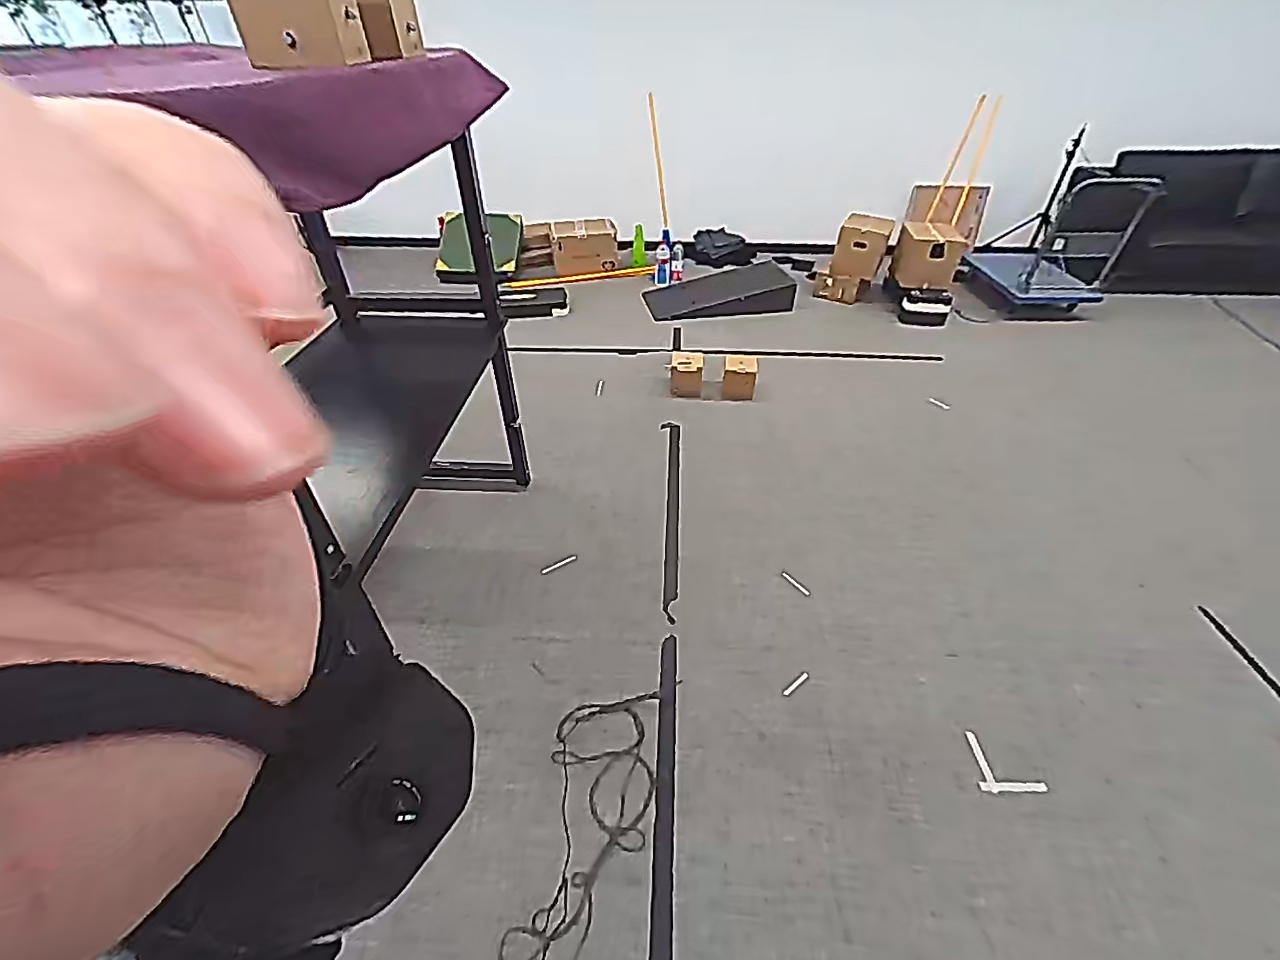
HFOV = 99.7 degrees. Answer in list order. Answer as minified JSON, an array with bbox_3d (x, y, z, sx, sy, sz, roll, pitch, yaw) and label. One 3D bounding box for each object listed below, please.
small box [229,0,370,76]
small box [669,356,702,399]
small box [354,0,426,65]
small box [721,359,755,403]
[{"bbox_3d":[-0.640,-0.879,1.024,0.179,0.176,0.168,-3,39,-4],"label":"small box"},{"bbox_3d":[0.246,-0.552,2.922,0.168,0.176,0.179,4,39,4],"label":"small box"},{"bbox_3d":[-0.625,-1.070,1.253,0.179,0.176,0.168,0,41,1],"label":"small box"},{"bbox_3d":[0.527,-0.531,2.904,0.168,0.176,0.179,6,40,6],"label":"small box"}]
